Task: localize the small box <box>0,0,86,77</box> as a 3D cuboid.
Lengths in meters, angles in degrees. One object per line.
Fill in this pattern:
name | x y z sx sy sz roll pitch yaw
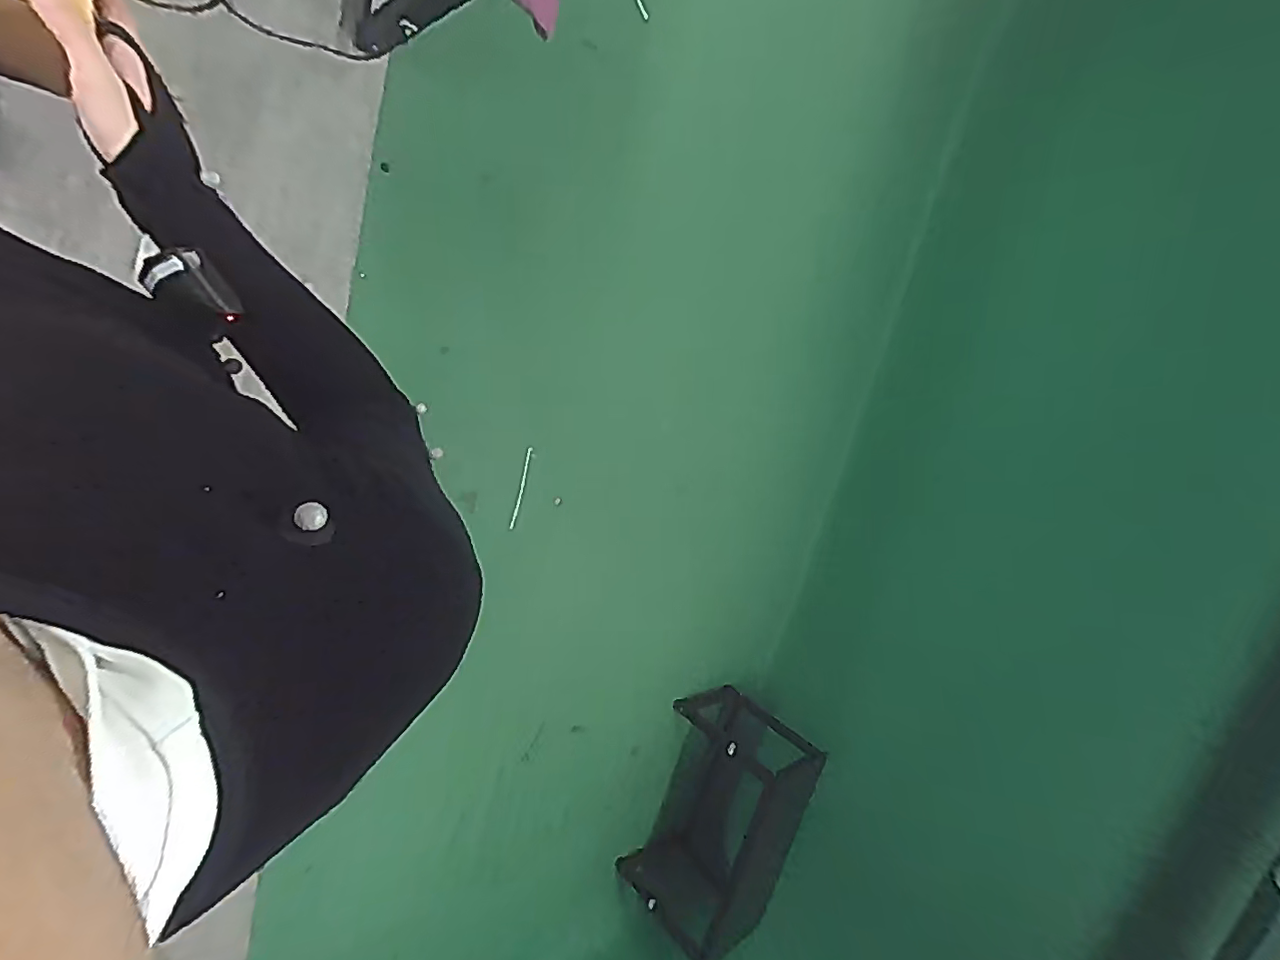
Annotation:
small box | -0.488 -0.423 0.359 0.168 0.176 0.179 -1 102 -45
